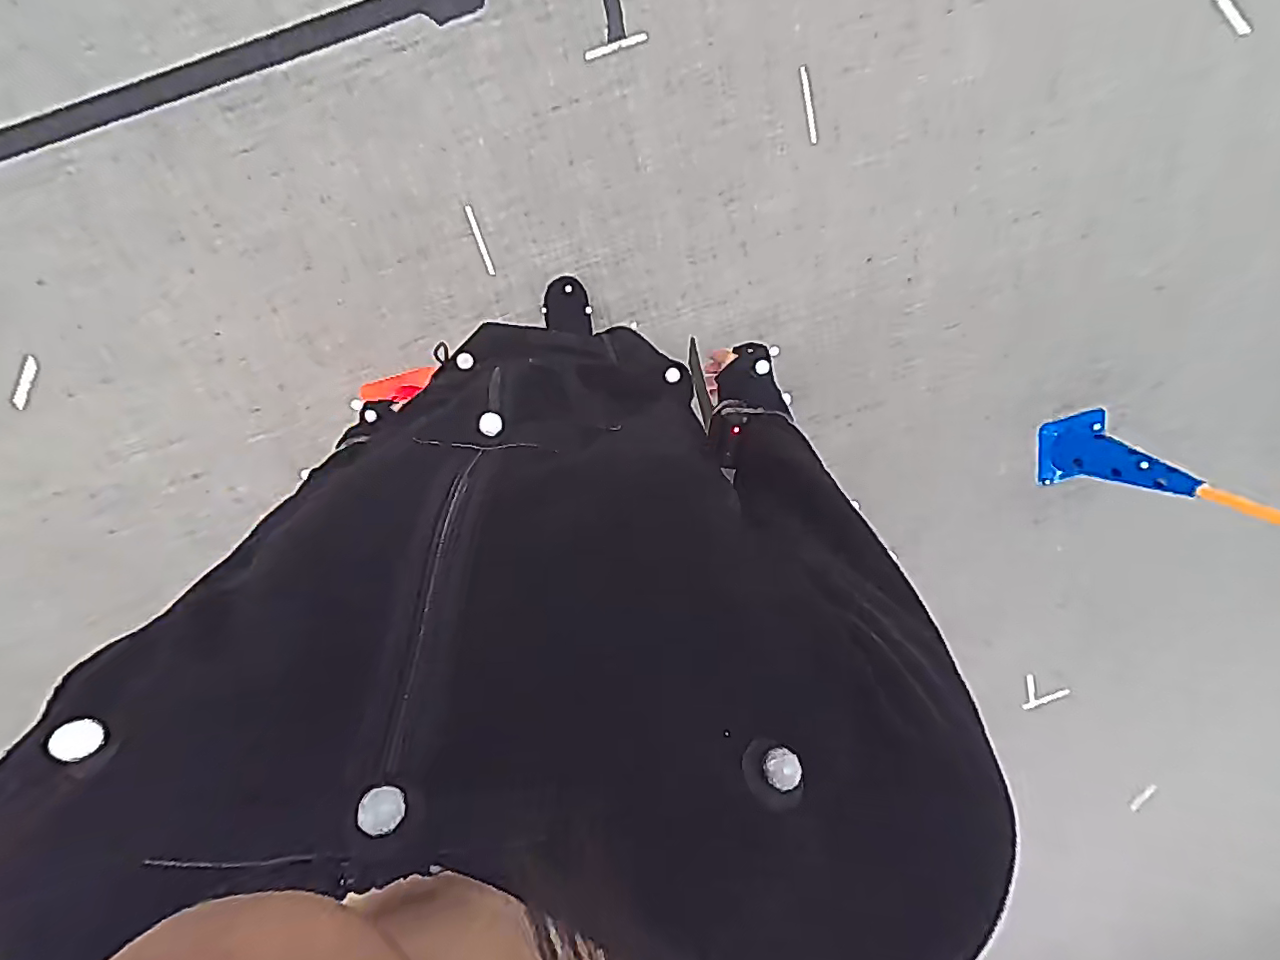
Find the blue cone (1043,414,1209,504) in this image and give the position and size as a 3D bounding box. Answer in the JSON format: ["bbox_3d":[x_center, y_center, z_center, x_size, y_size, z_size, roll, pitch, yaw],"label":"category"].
[{"bbox_3d":[1.287,-0.034,1.428,0.193,0.380,0.192,-15,112,-1],"label":"blue cone"}]

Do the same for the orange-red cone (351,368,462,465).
[{"bbox_3d":[-0.540,-0.105,1.169,0.198,0.360,0.199,-15,110,-1],"label":"orange-red cone"}]
